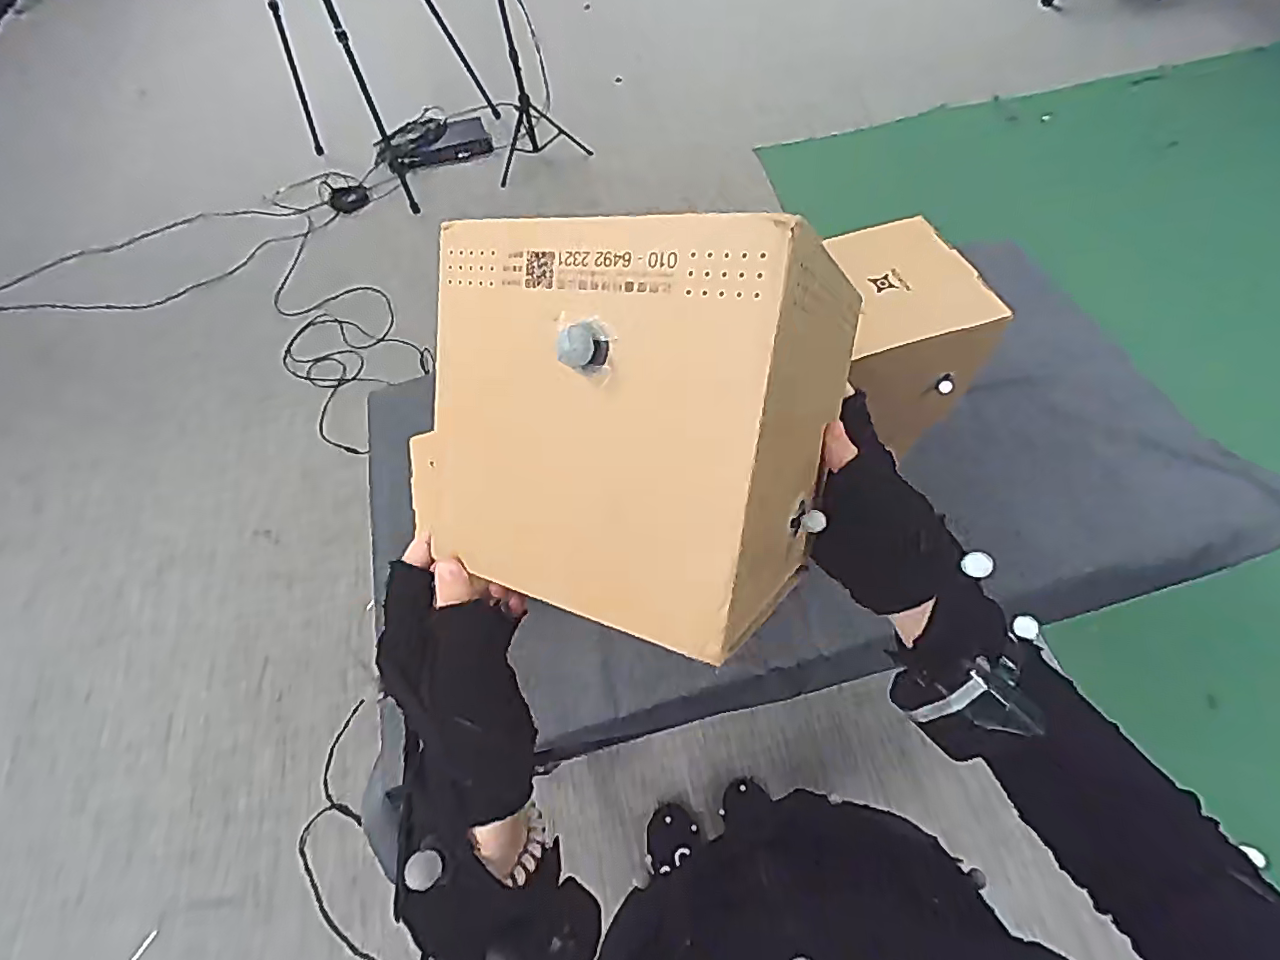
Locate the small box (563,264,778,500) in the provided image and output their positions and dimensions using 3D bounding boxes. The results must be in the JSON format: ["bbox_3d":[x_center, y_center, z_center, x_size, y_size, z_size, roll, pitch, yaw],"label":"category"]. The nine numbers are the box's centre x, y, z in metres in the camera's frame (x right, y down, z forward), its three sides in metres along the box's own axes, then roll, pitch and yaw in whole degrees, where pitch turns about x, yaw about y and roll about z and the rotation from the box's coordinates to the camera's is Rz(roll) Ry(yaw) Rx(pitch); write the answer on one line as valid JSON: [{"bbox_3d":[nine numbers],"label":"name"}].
[{"bbox_3d":[0.032,-0.100,0.604,0.179,0.176,0.168,-19,62,-5],"label":"small box"}]
